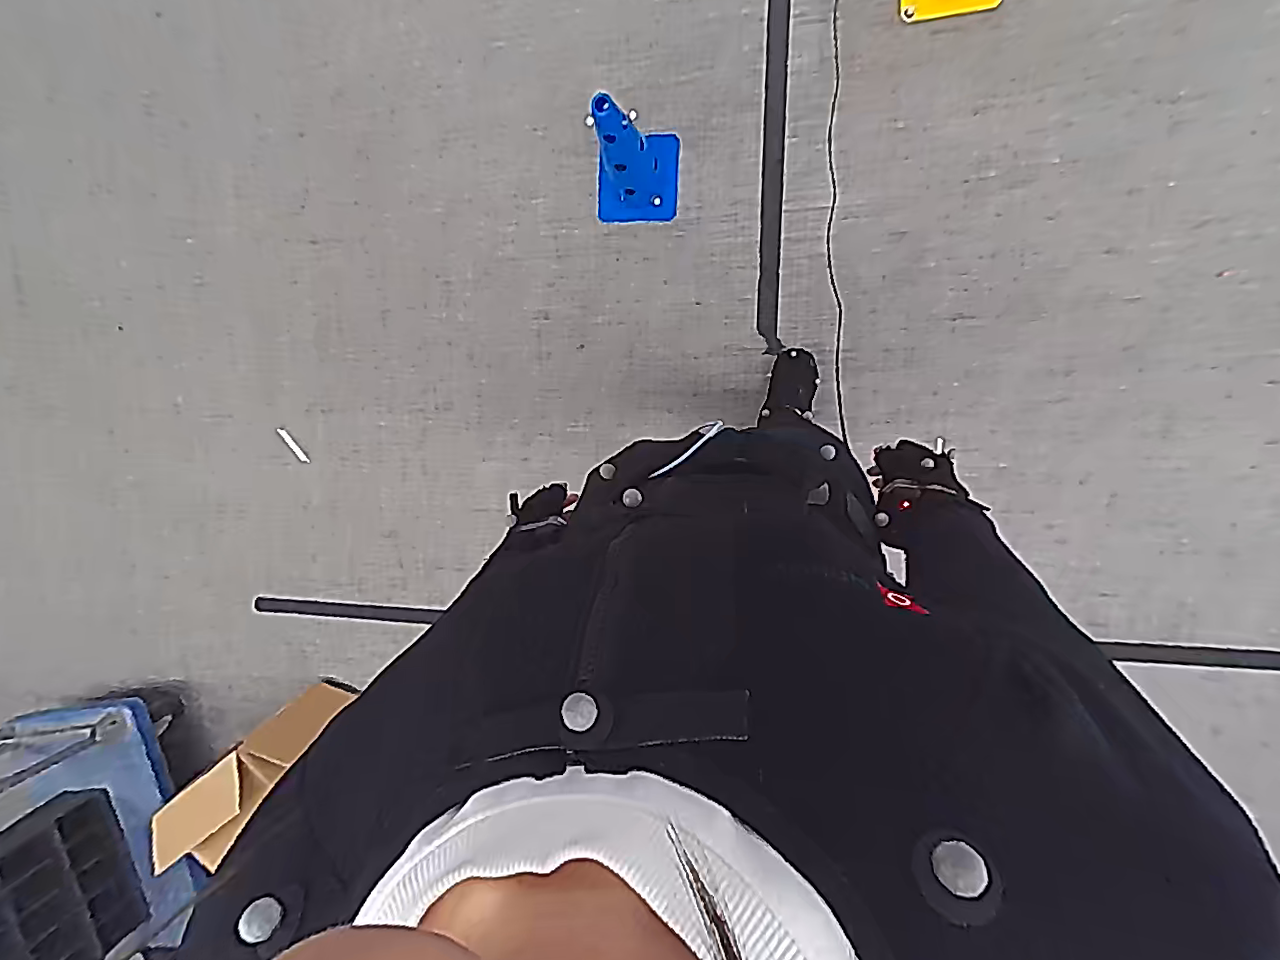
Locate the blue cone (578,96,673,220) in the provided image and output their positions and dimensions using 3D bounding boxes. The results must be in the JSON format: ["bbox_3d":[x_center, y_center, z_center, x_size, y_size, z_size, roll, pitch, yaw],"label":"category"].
[{"bbox_3d":[-0.049,-0.718,1.173,0.192,0.380,0.193,6,100,11],"label":"blue cone"}]
